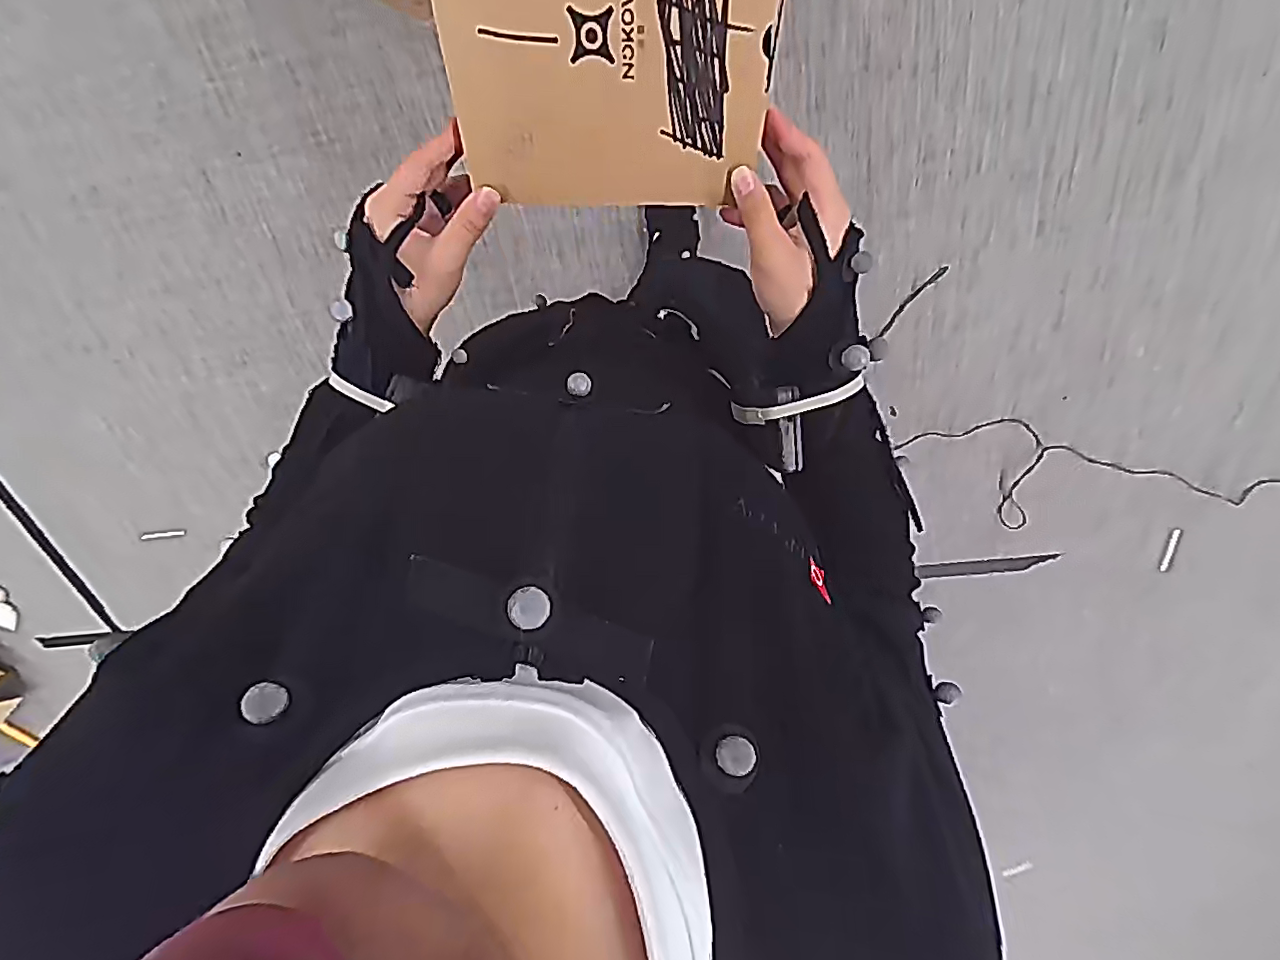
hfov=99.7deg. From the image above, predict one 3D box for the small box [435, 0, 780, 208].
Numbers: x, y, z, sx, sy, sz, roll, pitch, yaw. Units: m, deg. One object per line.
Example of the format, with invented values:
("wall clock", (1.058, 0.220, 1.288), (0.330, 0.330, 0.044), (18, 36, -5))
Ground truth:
("small box", (-0.016, -0.289, 0.335), (0.179, 0.176, 0.168), (1, 139, 0))
